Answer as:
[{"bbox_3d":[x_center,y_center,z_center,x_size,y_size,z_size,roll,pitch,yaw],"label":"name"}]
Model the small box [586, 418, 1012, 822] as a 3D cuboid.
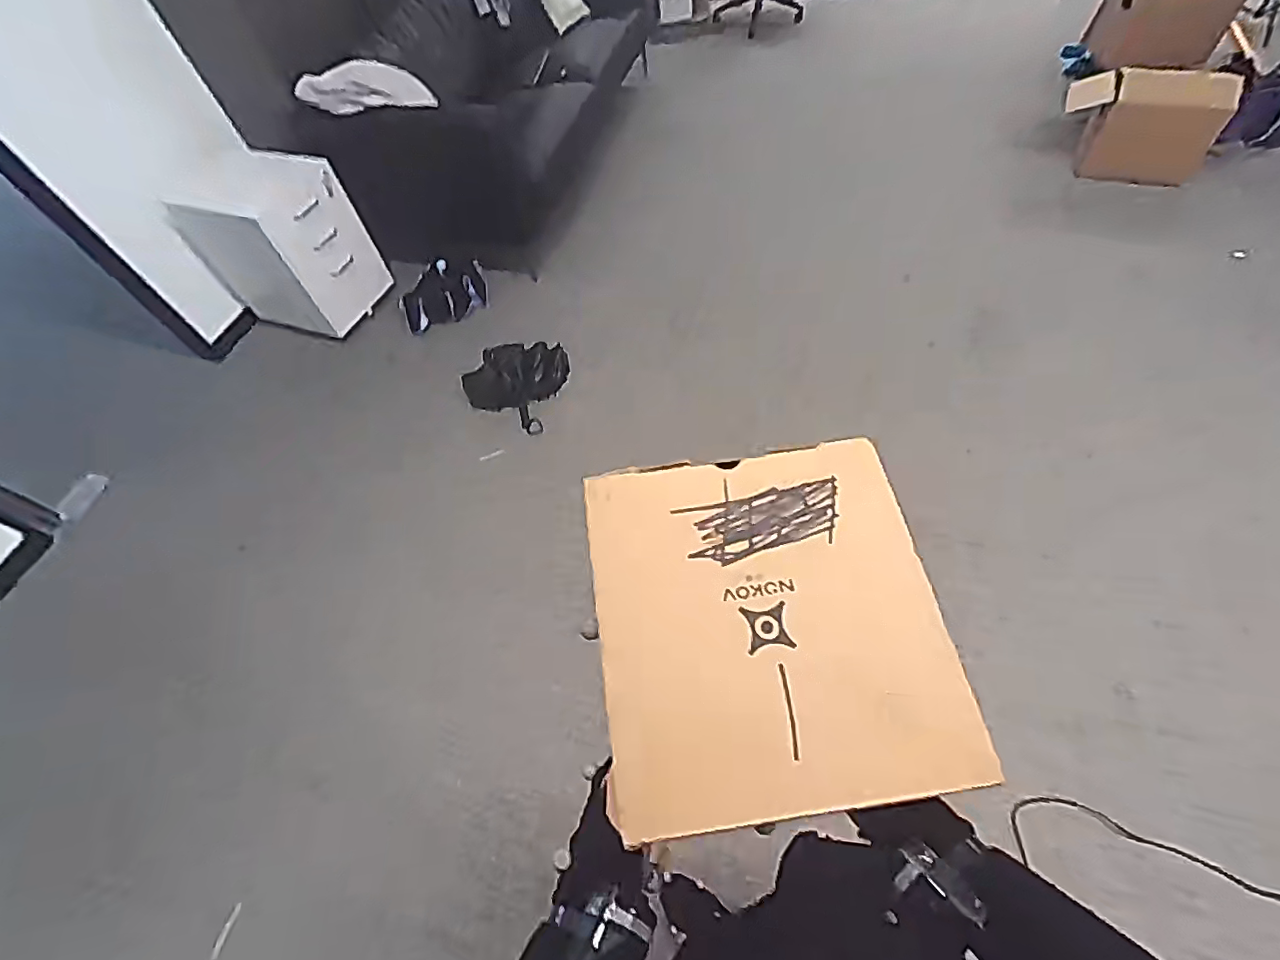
[{"bbox_3d":[0.062,0.088,0.324,0.168,0.176,0.179,-7,63,-1],"label":"small box"}]
